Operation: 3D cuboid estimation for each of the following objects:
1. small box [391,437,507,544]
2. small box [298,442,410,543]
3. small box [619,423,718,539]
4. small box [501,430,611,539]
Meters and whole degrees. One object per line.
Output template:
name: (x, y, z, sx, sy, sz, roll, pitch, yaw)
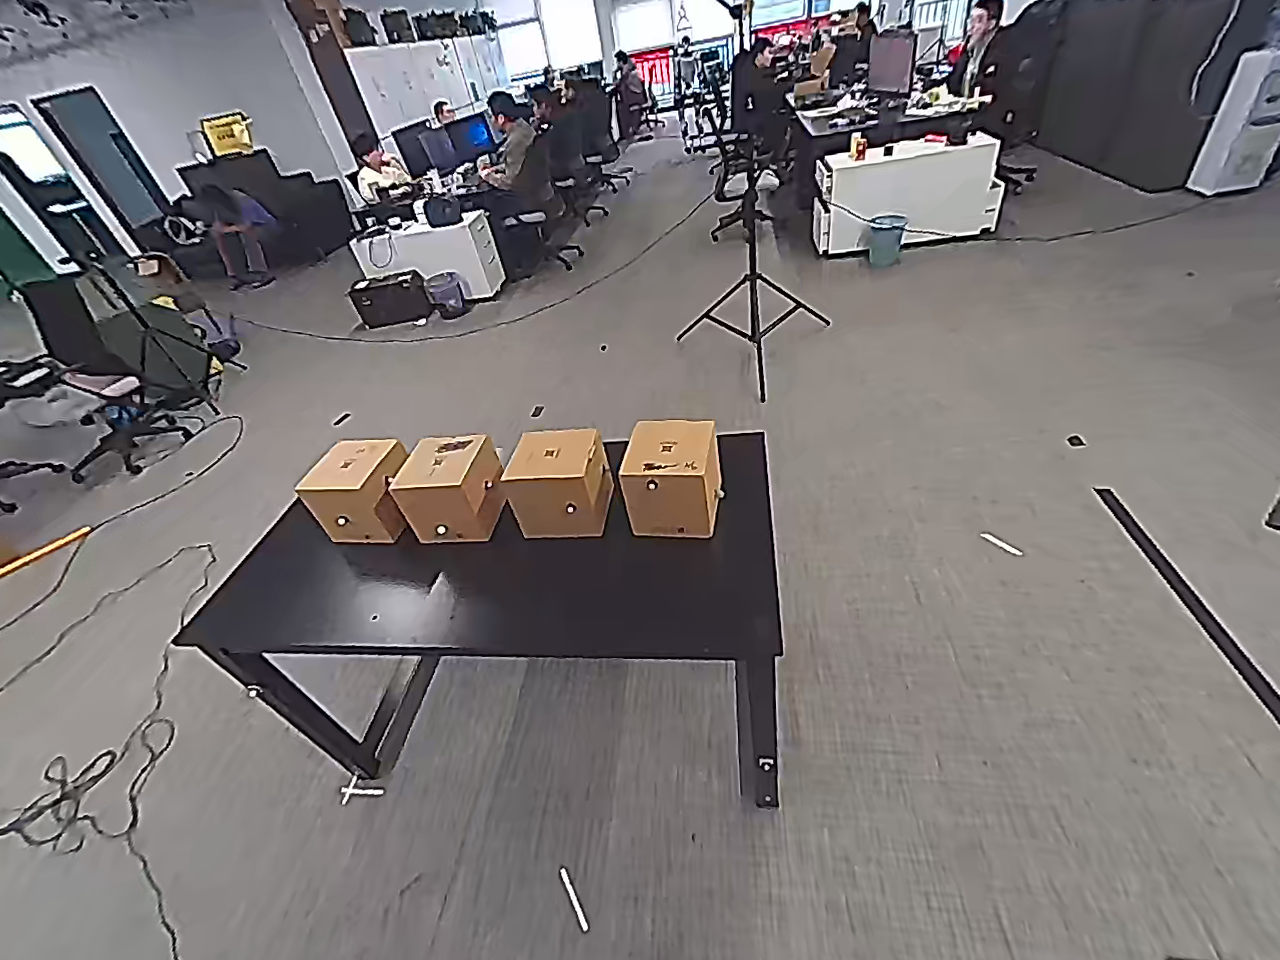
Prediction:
small box: (-0.412, 0.024, 1.205, 0.168, 0.176, 0.179, -3, 41, 10)
small box: (-0.631, 0.032, 1.254, 0.168, 0.176, 0.179, -1, 40, 13)
small box: (0.067, -0.001, 1.109, 0.168, 0.176, 0.179, 0, 40, 16)
small box: (-0.168, 0.012, 1.160, 0.179, 0.176, 0.168, -4, 39, 12)
